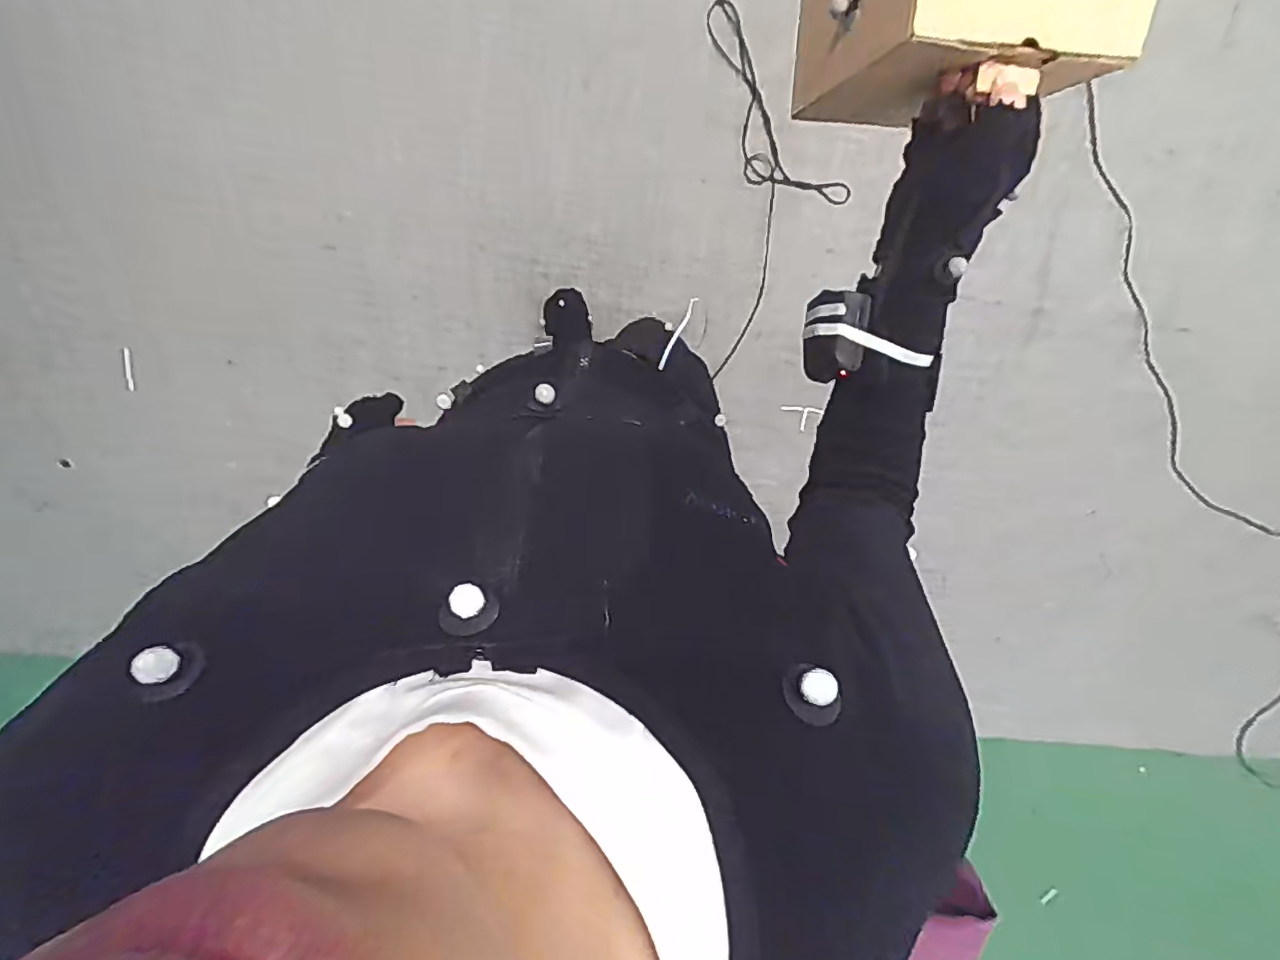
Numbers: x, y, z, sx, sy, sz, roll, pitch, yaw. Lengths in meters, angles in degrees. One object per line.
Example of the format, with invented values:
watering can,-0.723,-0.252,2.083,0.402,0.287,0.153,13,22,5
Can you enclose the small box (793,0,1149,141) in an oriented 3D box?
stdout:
small box,0.226,-0.362,0.387,0.168,0.176,0.179,-2,110,-10
